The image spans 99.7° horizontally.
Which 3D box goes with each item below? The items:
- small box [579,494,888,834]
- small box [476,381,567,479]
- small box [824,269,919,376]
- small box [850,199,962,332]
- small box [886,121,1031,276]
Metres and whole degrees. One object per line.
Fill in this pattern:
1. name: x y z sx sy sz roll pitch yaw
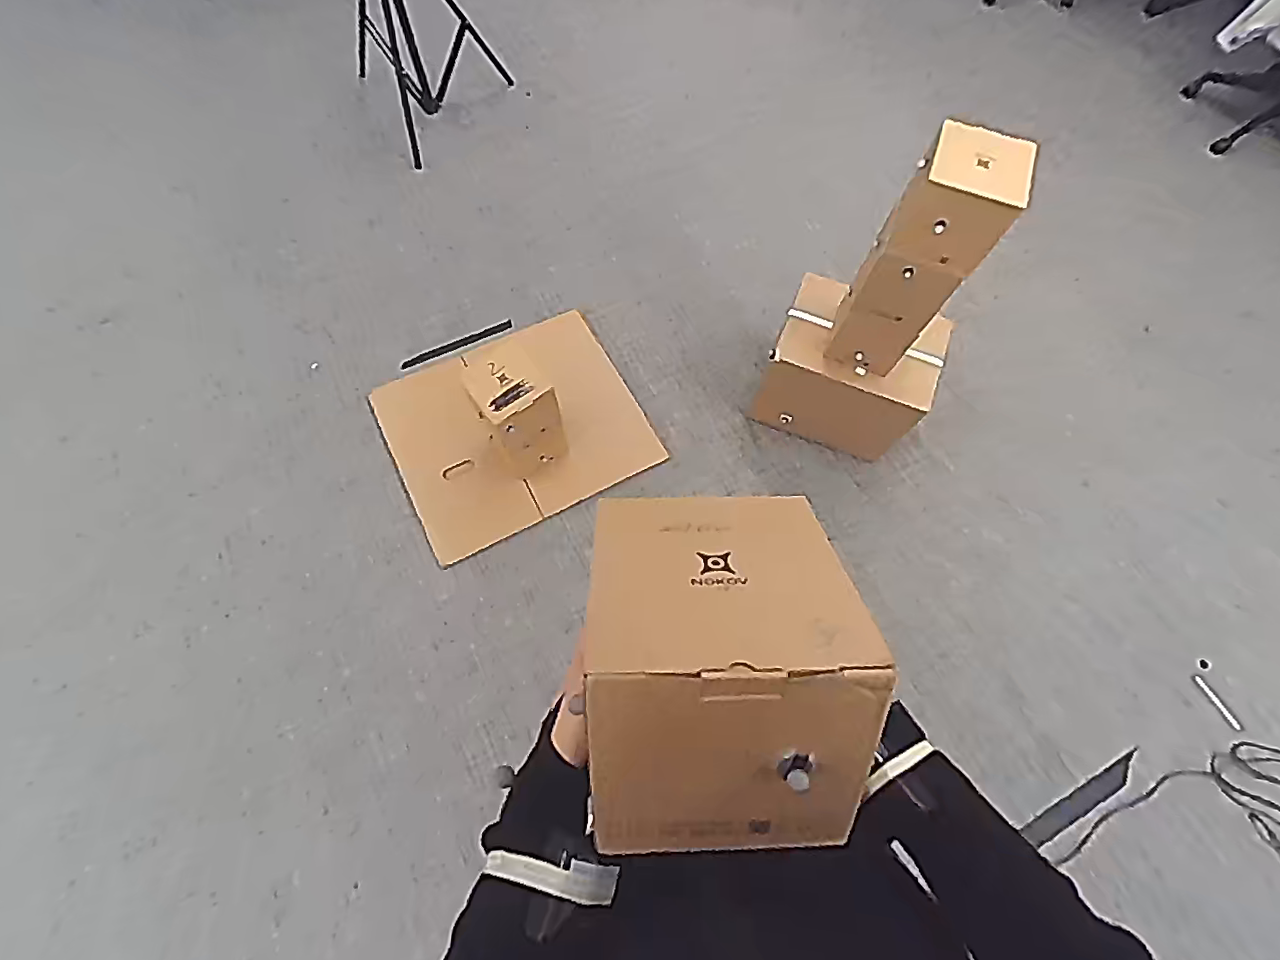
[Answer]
1. small box: 0.049 0.125 0.389 0.168 0.176 0.179 -1 28 -2
2. small box: -0.319 -0.131 1.487 0.168 0.176 0.179 -35 73 -13
3. small box: 0.565 -0.387 1.307 0.168 0.176 0.179 21 68 7
4. small box: 0.573 -0.454 1.157 0.168 0.176 0.179 21 67 7
5. small box: 0.581 -0.515 1.006 0.168 0.176 0.179 20 67 7
